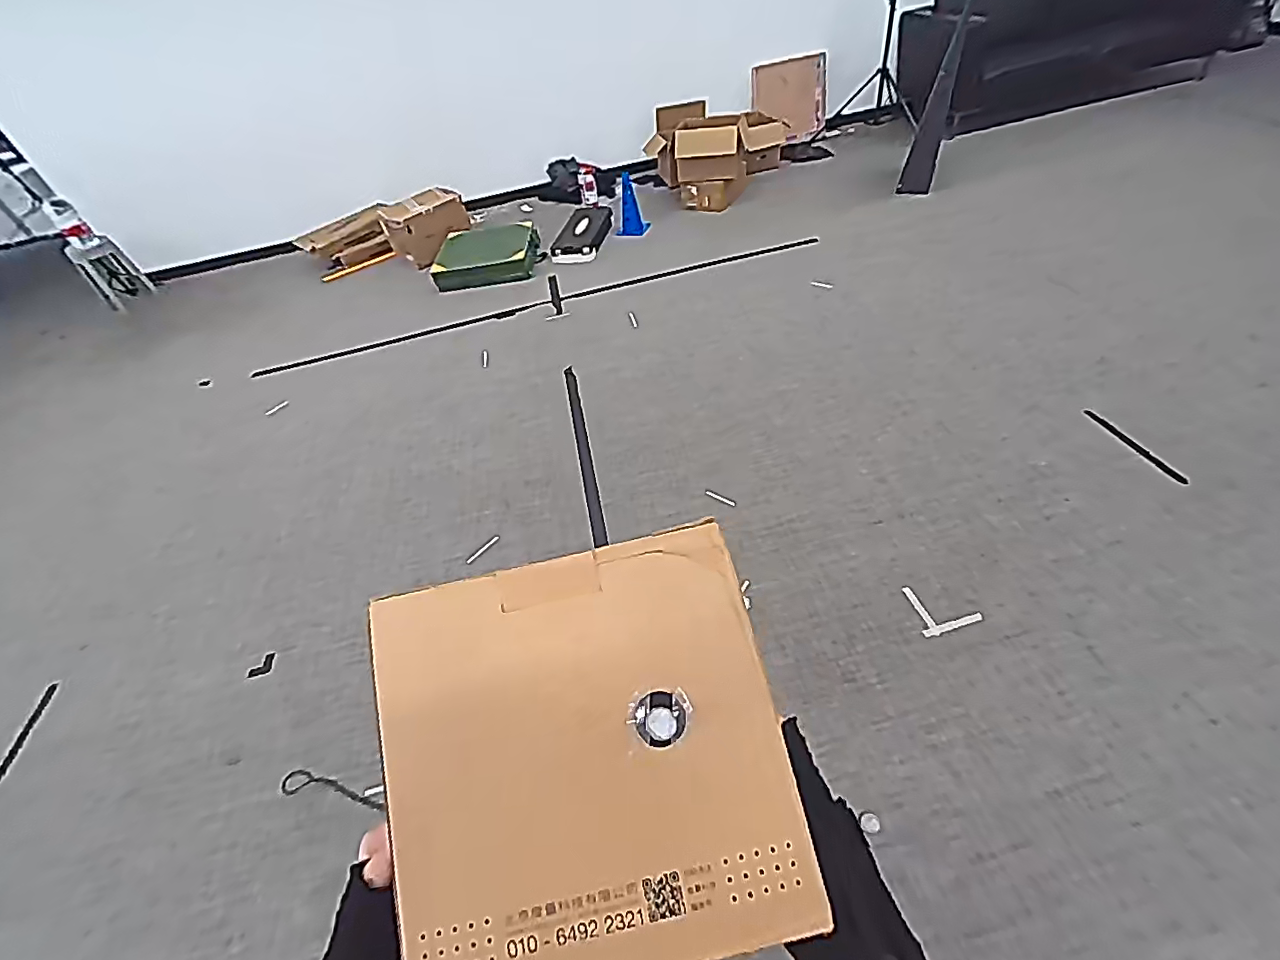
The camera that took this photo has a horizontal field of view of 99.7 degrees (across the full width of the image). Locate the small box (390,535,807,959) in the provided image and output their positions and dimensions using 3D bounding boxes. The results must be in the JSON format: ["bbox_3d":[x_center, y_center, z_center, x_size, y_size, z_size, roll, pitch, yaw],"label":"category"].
[{"bbox_3d":[-0.018,0.143,0.320,0.168,0.179,0.176,-13,75,0],"label":"small box"}]
